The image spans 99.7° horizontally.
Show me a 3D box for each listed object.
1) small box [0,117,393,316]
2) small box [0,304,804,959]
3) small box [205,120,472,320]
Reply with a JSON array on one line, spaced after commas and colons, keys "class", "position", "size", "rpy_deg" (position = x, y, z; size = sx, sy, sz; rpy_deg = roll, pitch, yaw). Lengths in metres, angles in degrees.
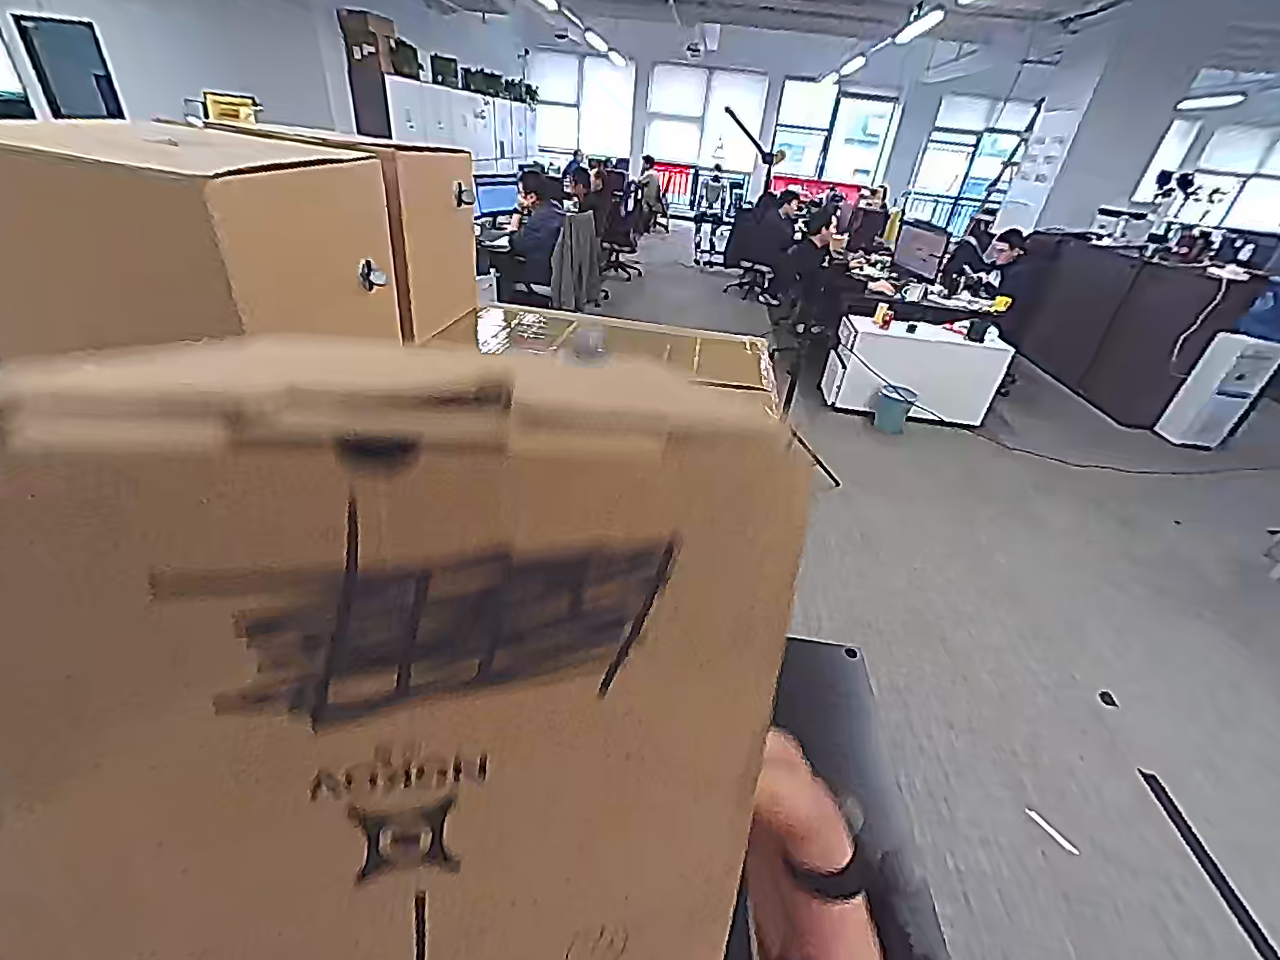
[{"class": "small box", "position": [-0.288, -0.135, 0.372], "size": [0.168, 0.176, 0.179], "rpy_deg": [8, 35, 0]}, {"class": "small box", "position": [-0.065, 0.033, 0.195], "size": [0.168, 0.179, 0.176], "rpy_deg": [0, 18, -11]}, {"class": "small box", "position": [-0.281, -0.251, 0.553], "size": [0.168, 0.176, 0.179], "rpy_deg": [8, 31, 2]}]
